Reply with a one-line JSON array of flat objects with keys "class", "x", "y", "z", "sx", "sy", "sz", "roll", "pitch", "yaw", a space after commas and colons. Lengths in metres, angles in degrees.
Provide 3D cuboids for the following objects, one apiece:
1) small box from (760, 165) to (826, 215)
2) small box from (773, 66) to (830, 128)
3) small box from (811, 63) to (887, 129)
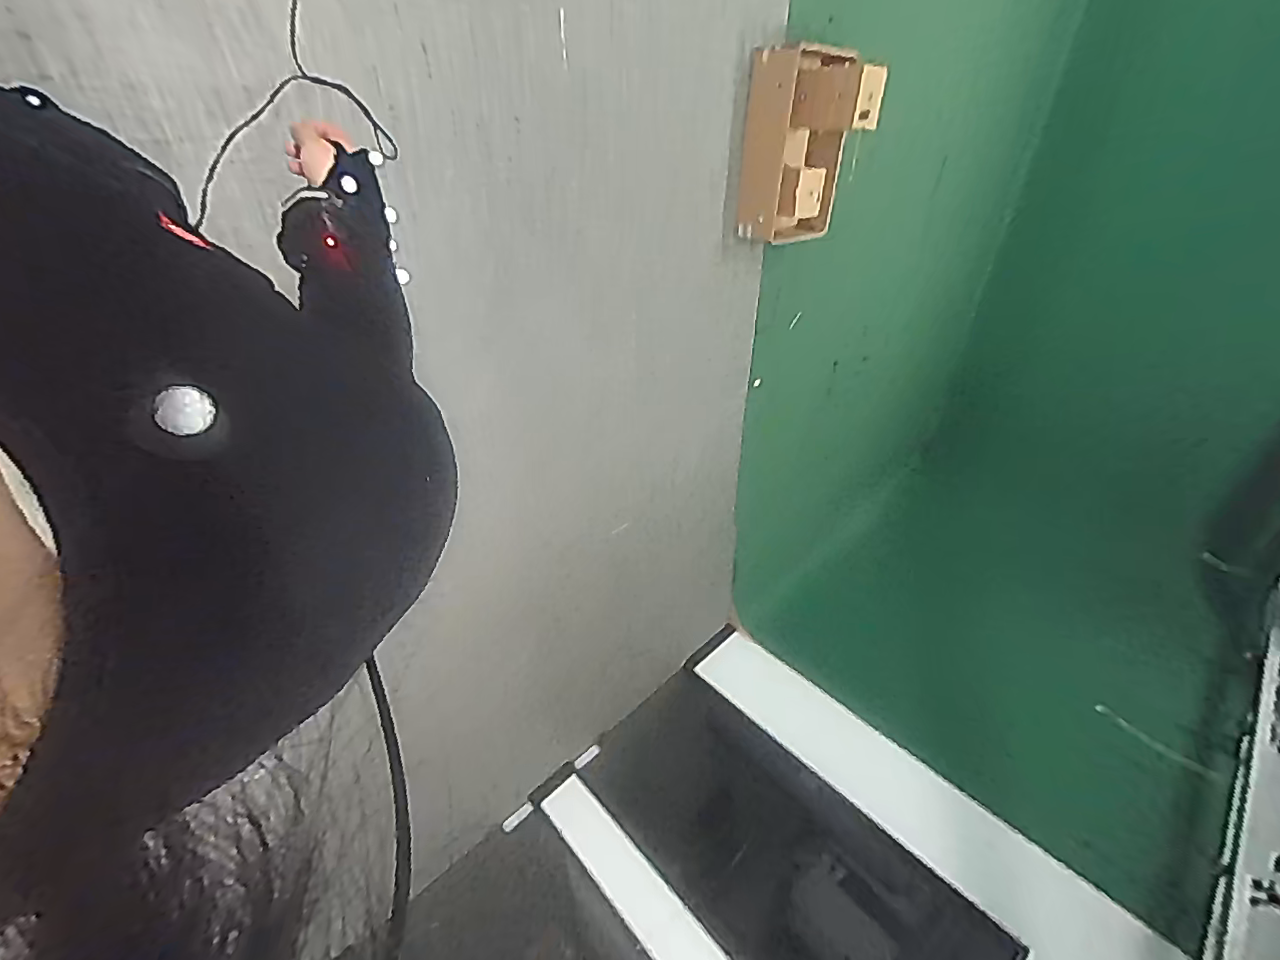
[{"class": "small box", "x": 0.596, "y": -1.141, "z": 2.126, "sx": 0.179, "sy": 0.176, "sz": 0.168, "roll": -24, "pitch": 130, "yaw": -35}, {"class": "small box", "x": 0.606, "y": -1.389, "z": 1.966, "sx": 0.168, "sy": 0.176, "sz": 0.179, "roll": -26, "pitch": 133, "yaw": -34}, {"class": "small box", "x": 0.714, "y": -1.319, "z": 1.864, "sx": 0.168, "sy": 0.176, "sz": 0.179, "roll": -26, "pitch": 131, "yaw": -35}]
